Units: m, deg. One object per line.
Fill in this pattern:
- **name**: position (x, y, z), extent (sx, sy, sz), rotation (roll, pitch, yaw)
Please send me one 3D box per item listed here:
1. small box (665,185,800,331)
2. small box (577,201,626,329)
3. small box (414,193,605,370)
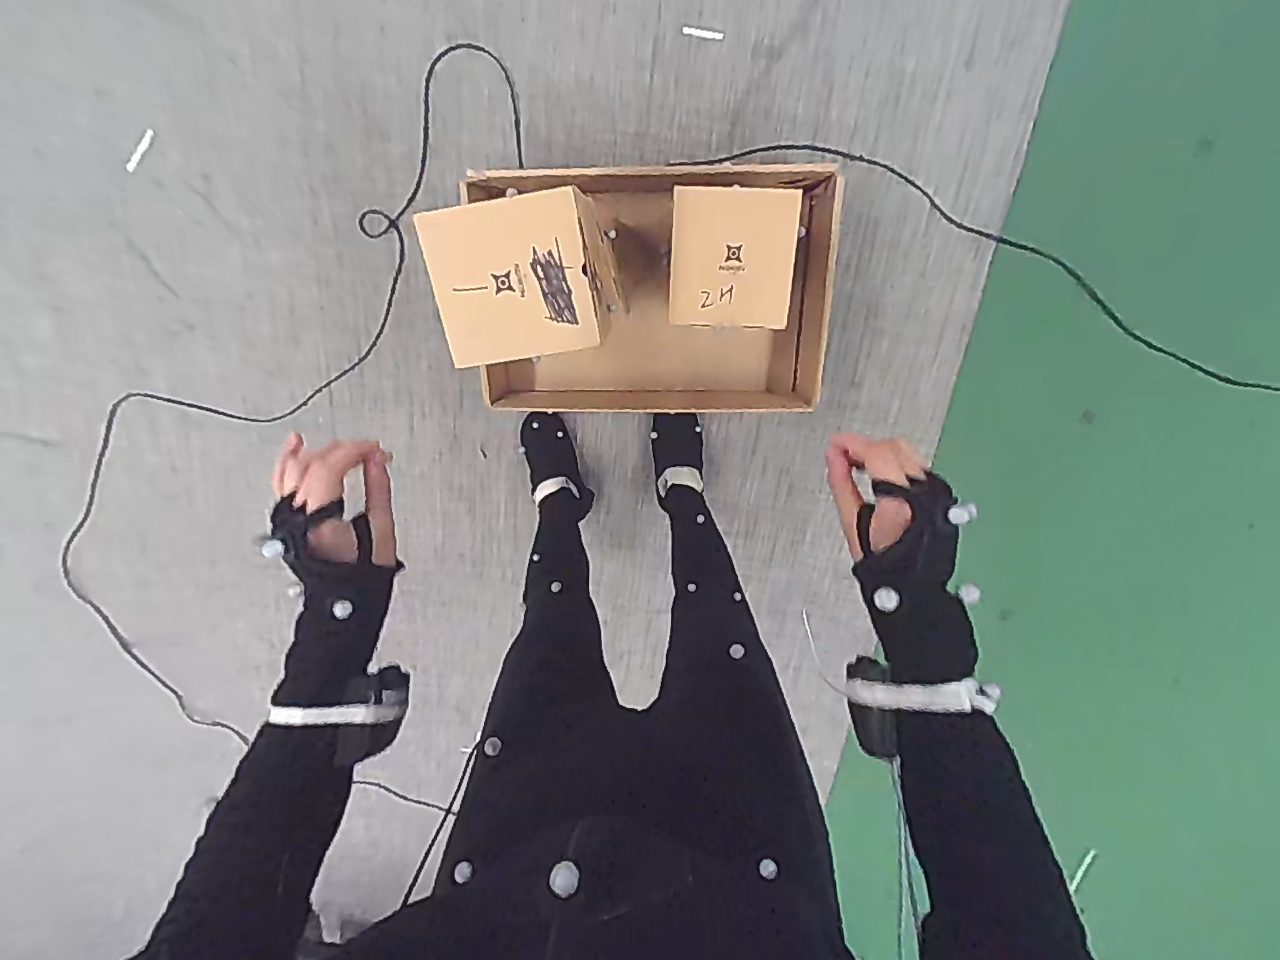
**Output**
- **small box**: position (0.124, -0.320, 0.794), extent (0.168, 0.176, 0.179), rotation (3, 111, 2)
- **small box**: position (-0.125, -0.303, 0.815), extent (0.179, 0.176, 0.168), rotation (-14, 110, 7)
- **small box**: position (-0.141, -0.241, 0.664), extent (0.179, 0.176, 0.168), rotation (-8, 111, 5)
